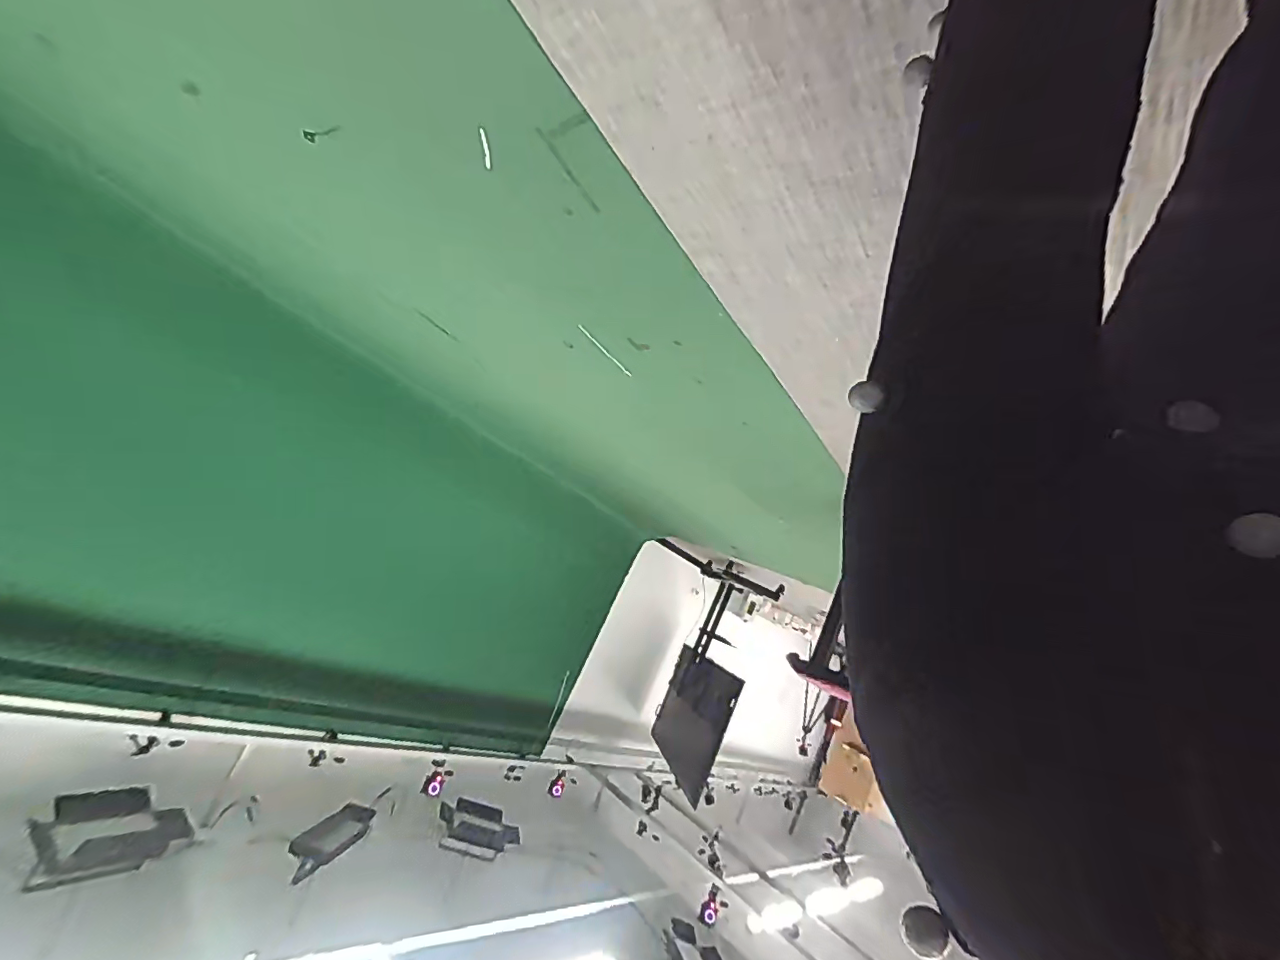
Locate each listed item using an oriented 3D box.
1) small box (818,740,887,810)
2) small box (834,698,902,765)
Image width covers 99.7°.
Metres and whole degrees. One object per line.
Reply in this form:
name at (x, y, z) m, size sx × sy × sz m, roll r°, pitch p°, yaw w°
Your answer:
small box at (0.789, 1.083, 1.992) m, size 0.168 × 0.176 × 0.179 m, roll 14°, pitch 164°, yaw 44°
small box at (0.857, 0.937, 2.019) m, size 0.168 × 0.176 × 0.179 m, roll 13°, pitch 164°, yaw 44°
